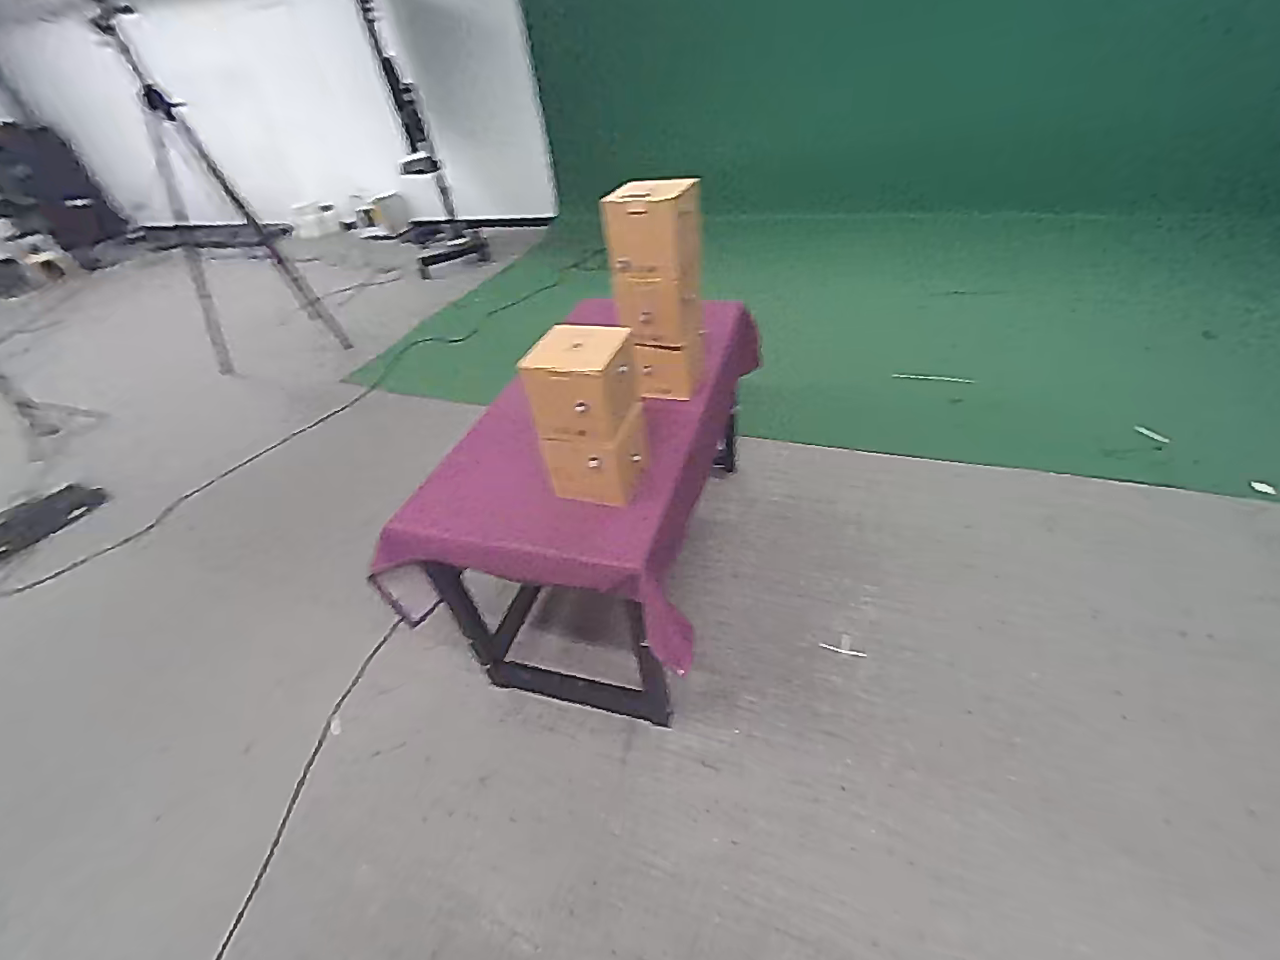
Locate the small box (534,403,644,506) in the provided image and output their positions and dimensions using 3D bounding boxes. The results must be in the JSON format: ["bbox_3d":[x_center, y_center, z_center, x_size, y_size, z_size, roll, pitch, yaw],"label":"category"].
[{"bbox_3d":[-0.100,-0.063,1.181,0.179,0.176,0.168,8,43,19],"label":"small box"}]

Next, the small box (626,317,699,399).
[{"bbox_3d":[0.061,-0.335,1.469,0.168,0.176,0.179,7,43,18],"label":"small box"}]

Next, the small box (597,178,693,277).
[{"bbox_3d":[0.022,-0.584,1.257,0.168,0.176,0.179,10,43,21],"label":"small box"}]

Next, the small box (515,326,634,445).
[{"bbox_3d":[-0.119,-0.189,1.079,0.168,0.176,0.179,8,43,18],"label":"small box"}]

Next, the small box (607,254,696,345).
[{"bbox_3d":[0.038,-0.454,1.358,0.168,0.176,0.179,10,44,21],"label":"small box"}]
